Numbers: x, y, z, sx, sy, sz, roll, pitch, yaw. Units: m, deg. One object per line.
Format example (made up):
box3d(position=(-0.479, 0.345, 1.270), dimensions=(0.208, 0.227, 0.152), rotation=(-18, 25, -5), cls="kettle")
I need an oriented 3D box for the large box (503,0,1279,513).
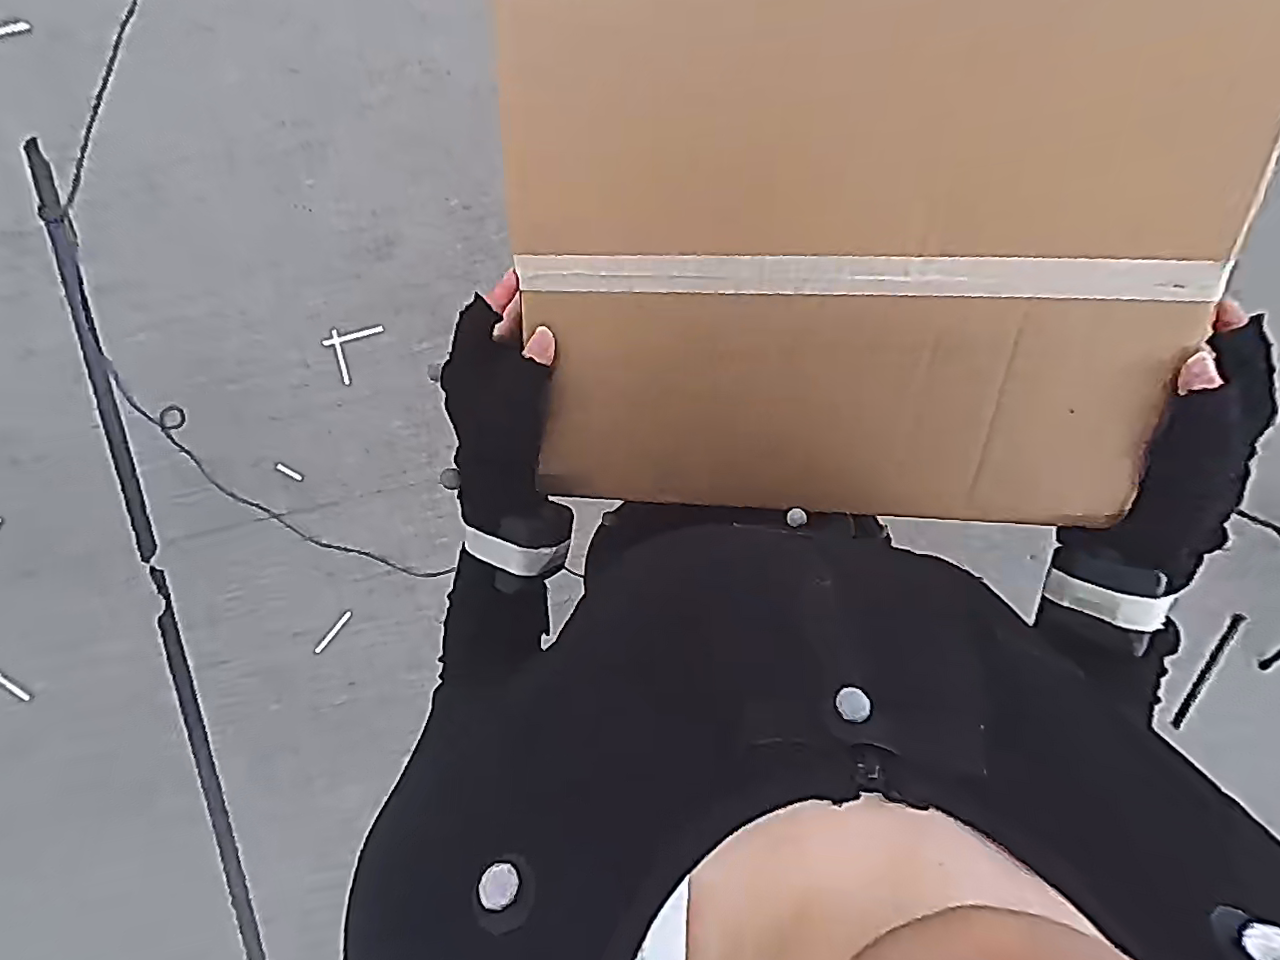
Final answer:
box3d(position=(0.137, -0.184, 0.467), dimensions=(0.408, 0.320, 0.320), rotation=(3, 116, 5), cls="large box")
